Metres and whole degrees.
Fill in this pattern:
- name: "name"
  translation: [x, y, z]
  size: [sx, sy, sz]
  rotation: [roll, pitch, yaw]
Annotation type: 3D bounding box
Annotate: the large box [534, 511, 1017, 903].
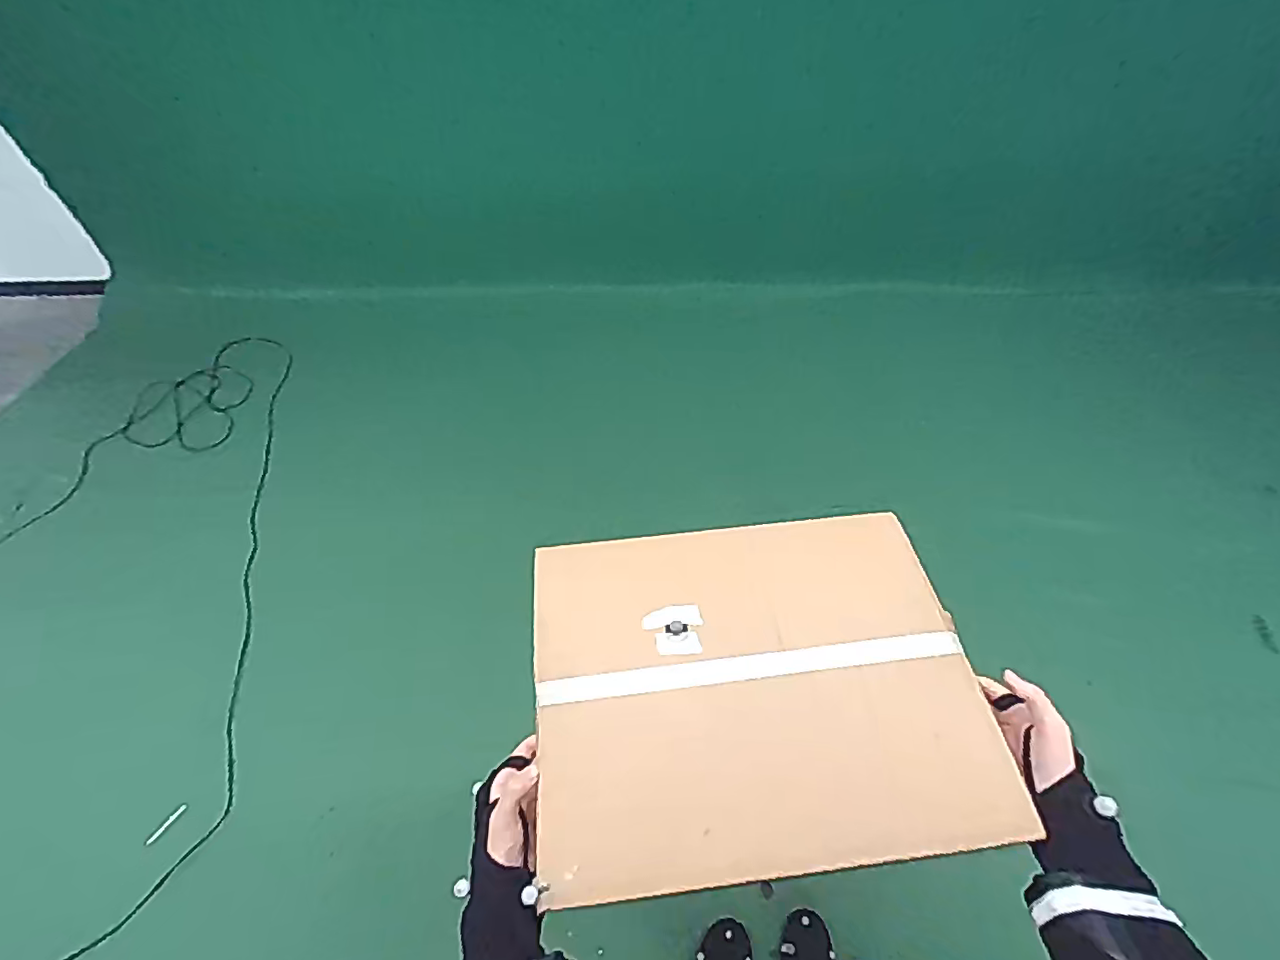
- name: "large box"
  translation: [0.105, 0.267, 0.642]
  size: [0.408, 0.320, 0.320]
  rotation: [-7, 54, -3]
